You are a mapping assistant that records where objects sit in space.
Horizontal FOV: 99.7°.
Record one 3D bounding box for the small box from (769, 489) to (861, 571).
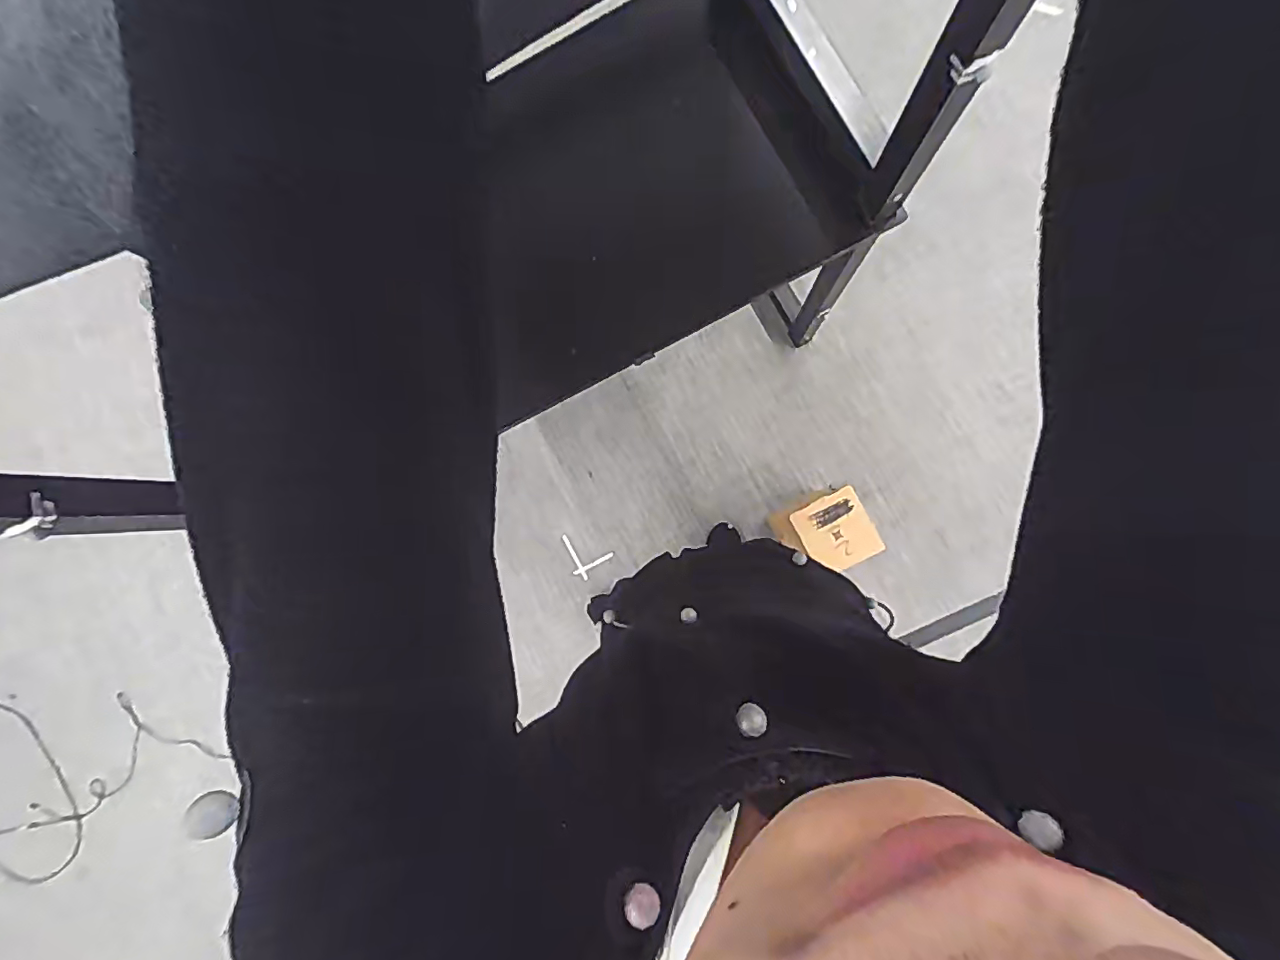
[{"bbox_3d":[0.483,0.137,1.520,0.179,0.176,0.168,-29,84,5],"label":"small box"}]
